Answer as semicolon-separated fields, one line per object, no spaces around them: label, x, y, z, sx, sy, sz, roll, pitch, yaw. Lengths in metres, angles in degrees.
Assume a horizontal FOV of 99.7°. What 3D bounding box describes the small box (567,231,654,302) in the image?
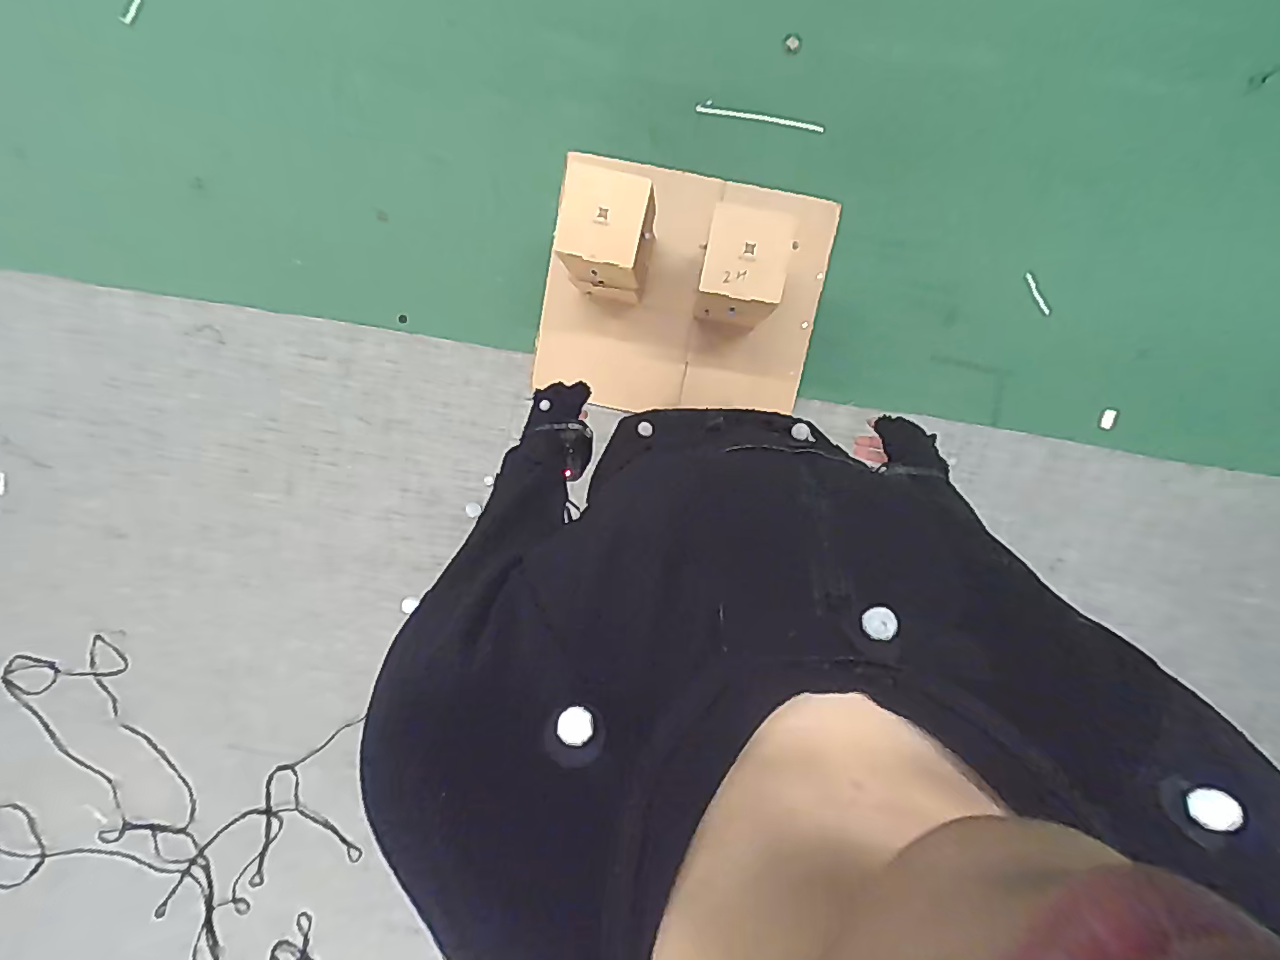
small box;-0.064;-0.542;1.301;0.168;0.176;0.179;13;98;2

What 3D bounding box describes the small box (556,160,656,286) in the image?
small box;-0.066;-0.531;1.138;0.168;0.176;0.179;14;99;1

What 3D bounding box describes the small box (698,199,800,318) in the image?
small box;0.218;-0.453;1.131;0.168;0.176;0.179;11;98;2
